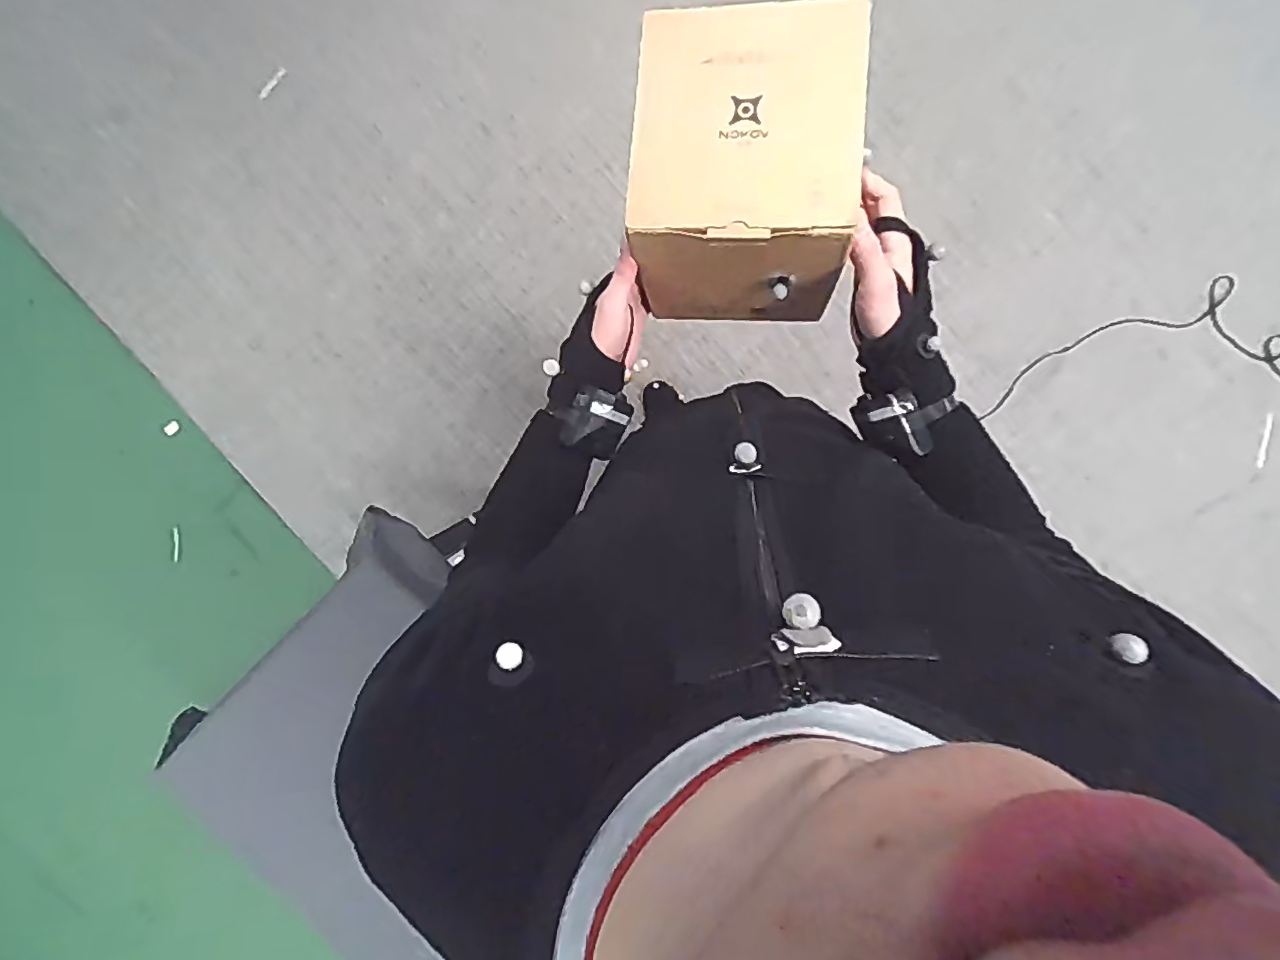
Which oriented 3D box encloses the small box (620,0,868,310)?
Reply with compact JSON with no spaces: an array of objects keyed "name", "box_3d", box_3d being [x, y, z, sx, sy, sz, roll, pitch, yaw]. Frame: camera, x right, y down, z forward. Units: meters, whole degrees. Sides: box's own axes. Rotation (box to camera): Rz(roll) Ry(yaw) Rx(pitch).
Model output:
[{"name":"small box","box_3d":[0.084,-0.258,0.463,0.168,0.176,0.179,4,85,8]}]
